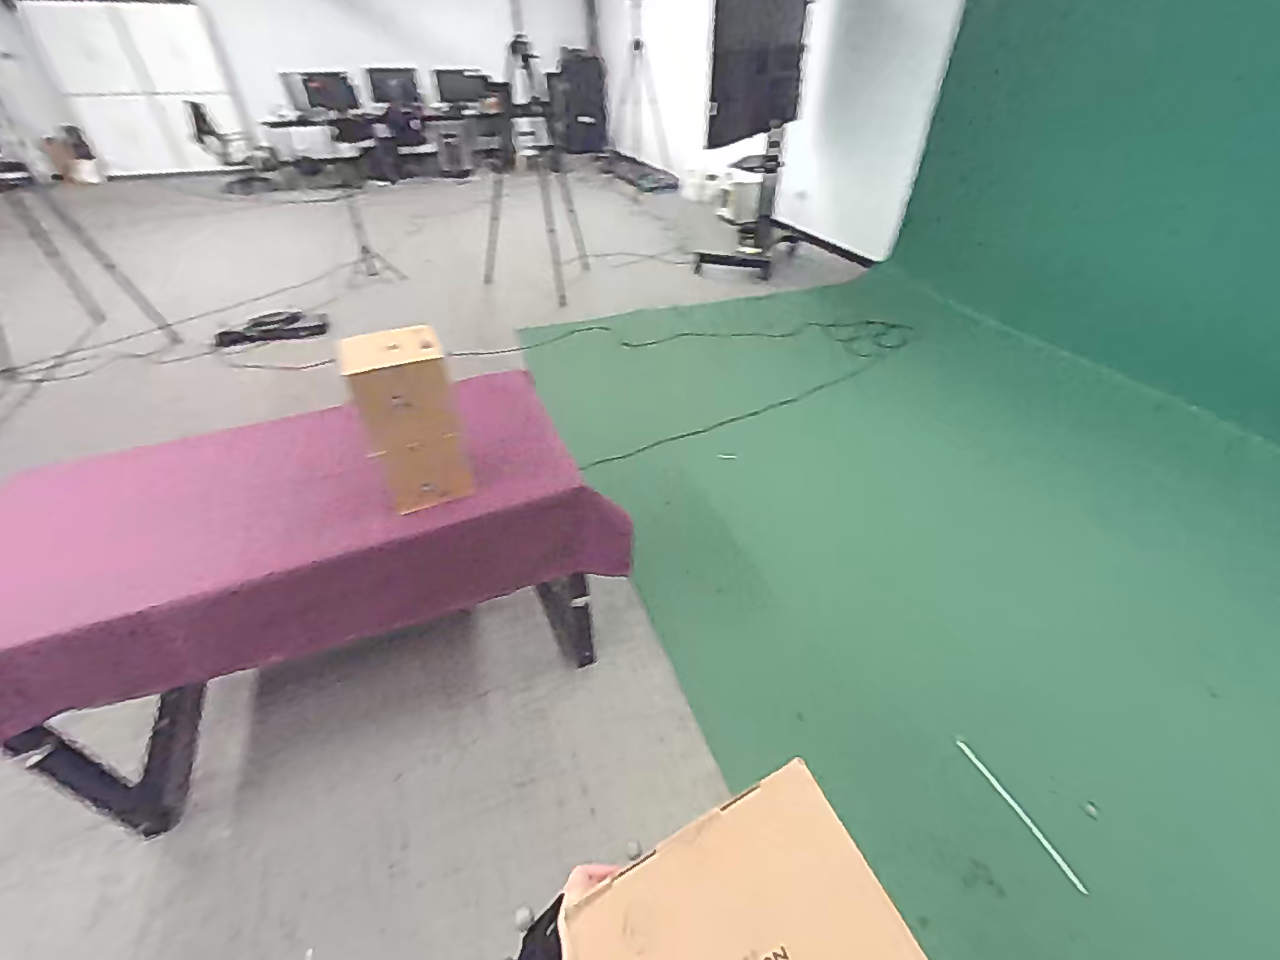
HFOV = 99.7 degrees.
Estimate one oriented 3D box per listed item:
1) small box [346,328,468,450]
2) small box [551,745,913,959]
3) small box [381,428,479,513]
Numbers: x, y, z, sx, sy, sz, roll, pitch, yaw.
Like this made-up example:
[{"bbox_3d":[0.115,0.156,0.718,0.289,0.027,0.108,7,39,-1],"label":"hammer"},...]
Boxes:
[{"bbox_3d":[-0.466,-0.183,1.089,0.179,0.176,0.168,-18,43,-20],"label":"small box"},{"bbox_3d":[0.059,0.309,0.348,0.168,0.176,0.179,-25,57,-15],"label":"small box"},{"bbox_3d":[-0.468,-0.056,1.194,0.168,0.176,0.179,-17,42,-20],"label":"small box"}]
